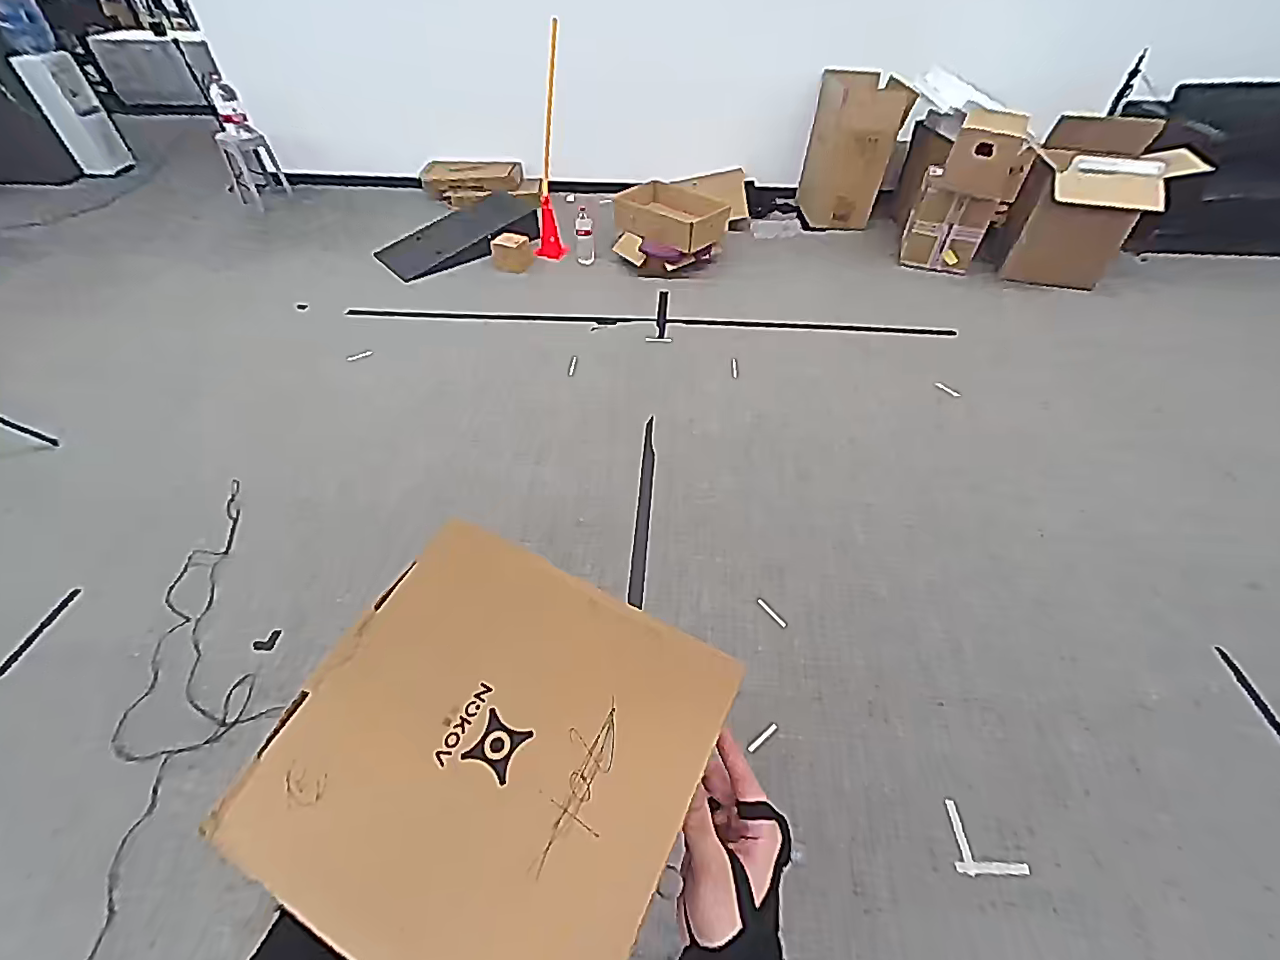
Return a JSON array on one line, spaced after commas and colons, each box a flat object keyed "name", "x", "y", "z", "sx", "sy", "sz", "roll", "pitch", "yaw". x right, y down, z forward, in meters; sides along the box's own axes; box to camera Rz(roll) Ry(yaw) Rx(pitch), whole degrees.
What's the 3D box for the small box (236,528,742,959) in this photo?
[{"name": "small box", "x": -0.062, "y": 0.162, "z": 0.315, "sx": 0.179, "sy": 0.176, "sz": 0.168, "roll": 23, "pitch": 60, "yaw": 14}]
